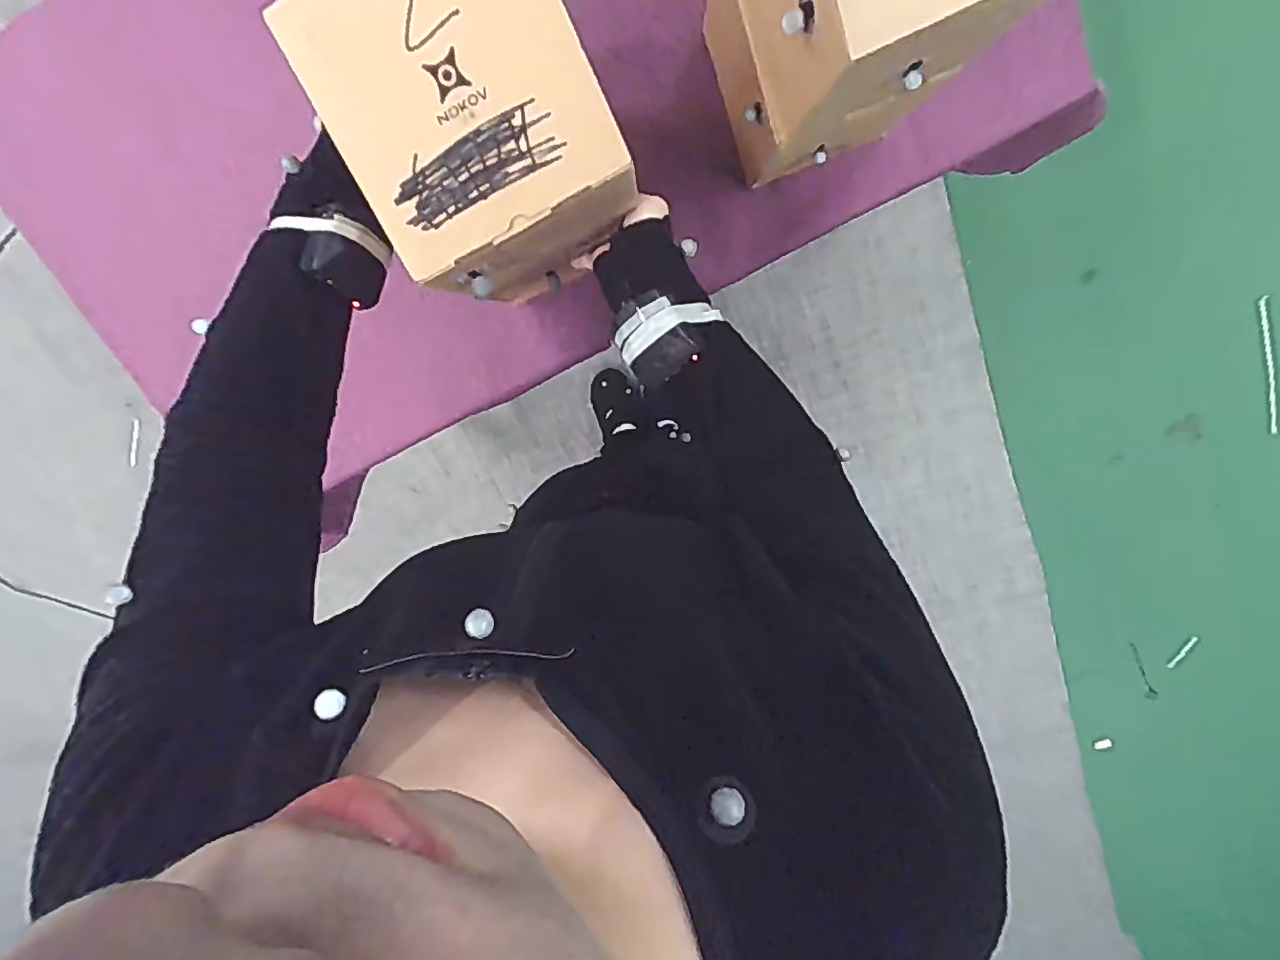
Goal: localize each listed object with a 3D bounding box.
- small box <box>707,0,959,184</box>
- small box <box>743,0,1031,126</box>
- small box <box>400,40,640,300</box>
[{"bbox_3d":[0.174,-0.429,0.534,0.168,0.176,0.179,-20,105,7],"label":"small box"},{"bbox_3d":[0.171,-0.382,0.376,0.168,0.176,0.179,-21,105,7],"label":"small box"},{"bbox_3d":[-0.108,-0.303,0.577,0.179,0.176,0.168,-21,105,8],"label":"small box"}]
